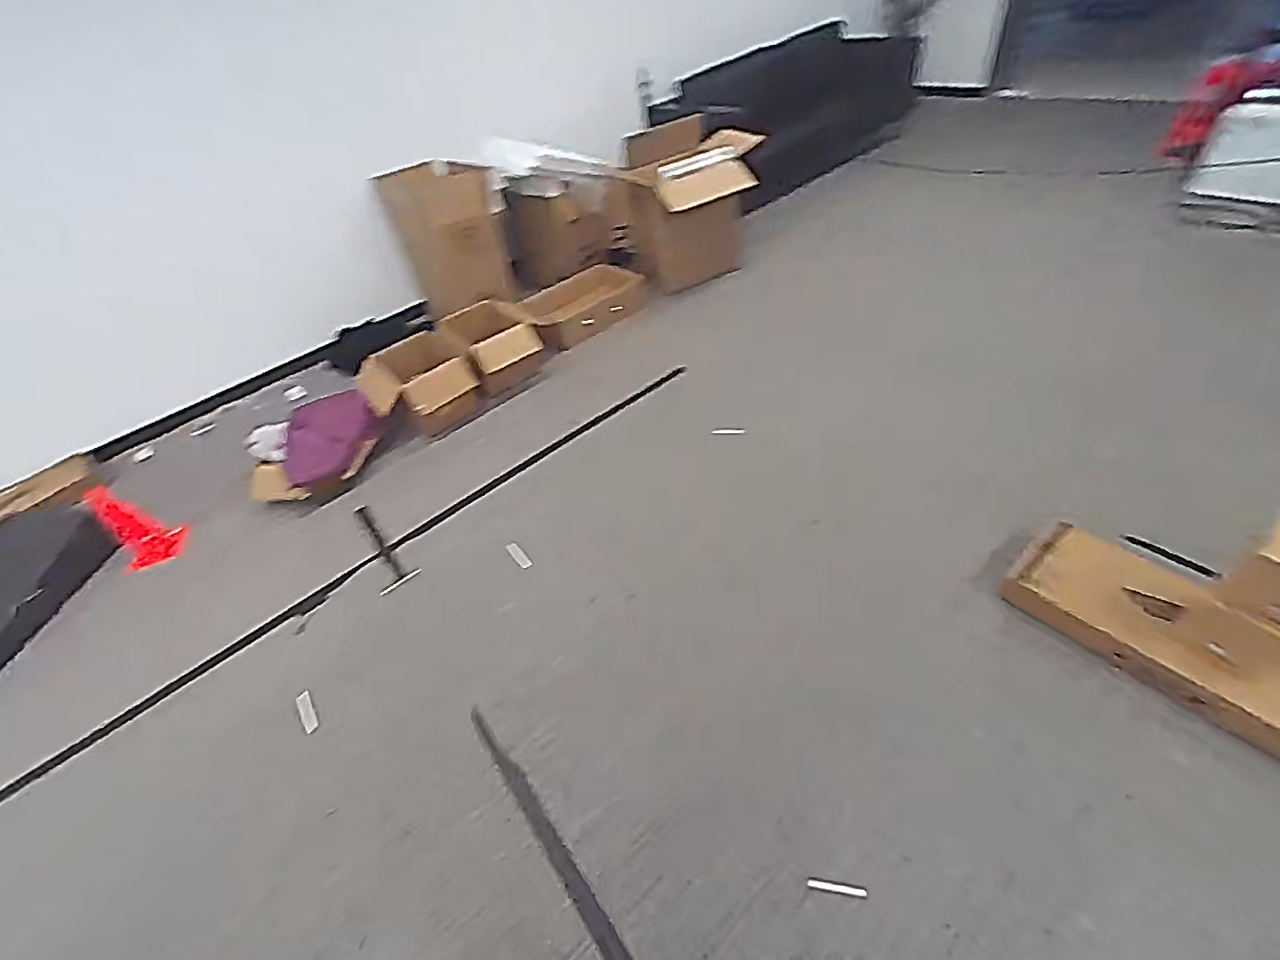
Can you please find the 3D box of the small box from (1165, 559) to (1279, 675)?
[{"bbox_3d":[1.410,0.320,1.278,0.179,0.176,0.168,-33,47,-19],"label":"small box"}]

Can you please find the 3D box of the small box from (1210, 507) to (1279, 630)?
[{"bbox_3d":[1.400,0.198,1.166,0.179,0.176,0.168,-35,48,-23],"label":"small box"}]
